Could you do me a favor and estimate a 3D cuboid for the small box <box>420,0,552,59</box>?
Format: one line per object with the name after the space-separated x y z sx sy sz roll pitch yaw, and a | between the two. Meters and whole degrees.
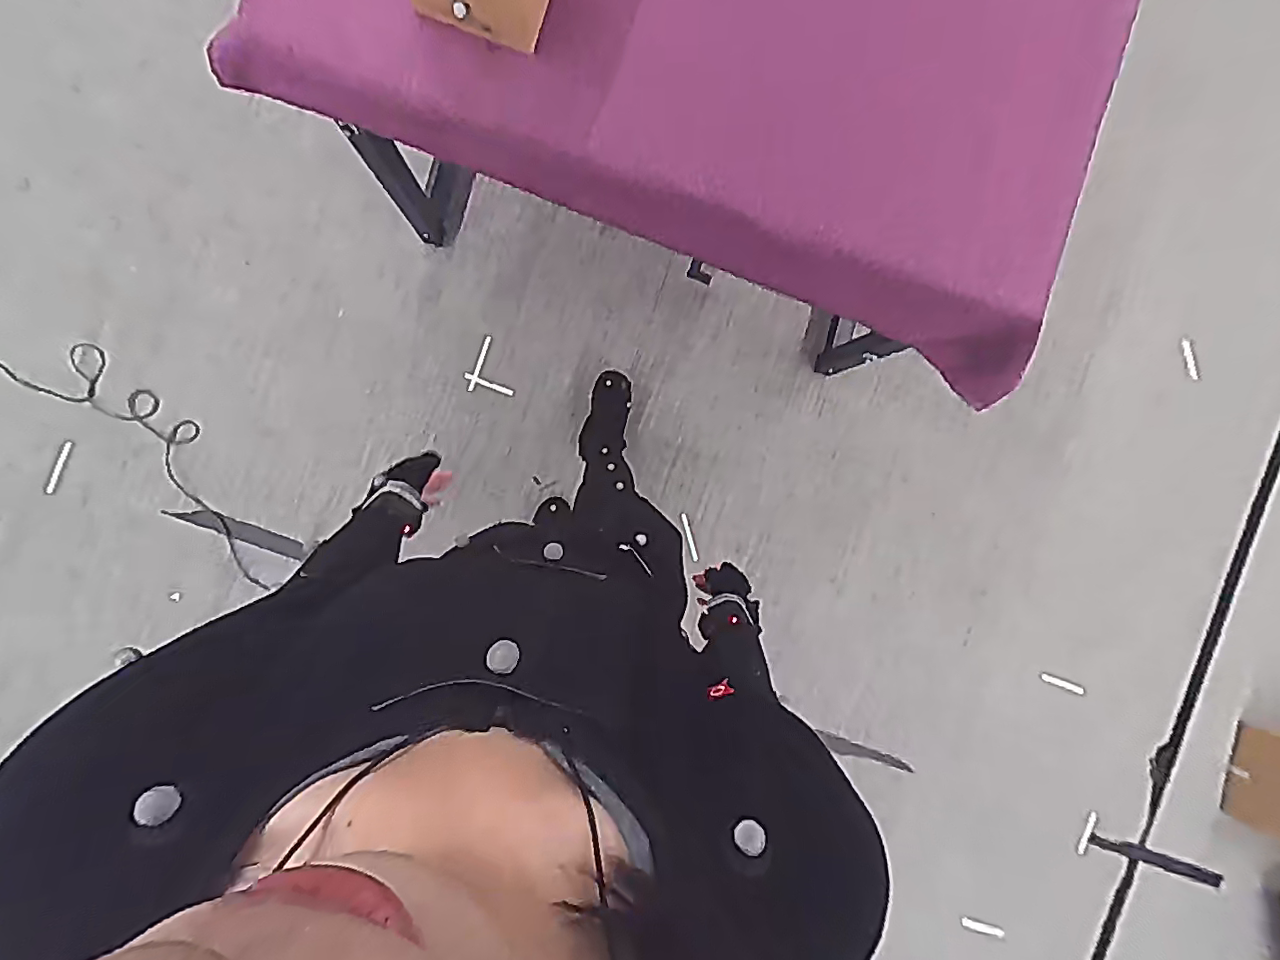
-0.192 -0.687 0.667 0.168 0.176 0.179 17 90 -6 | small box
